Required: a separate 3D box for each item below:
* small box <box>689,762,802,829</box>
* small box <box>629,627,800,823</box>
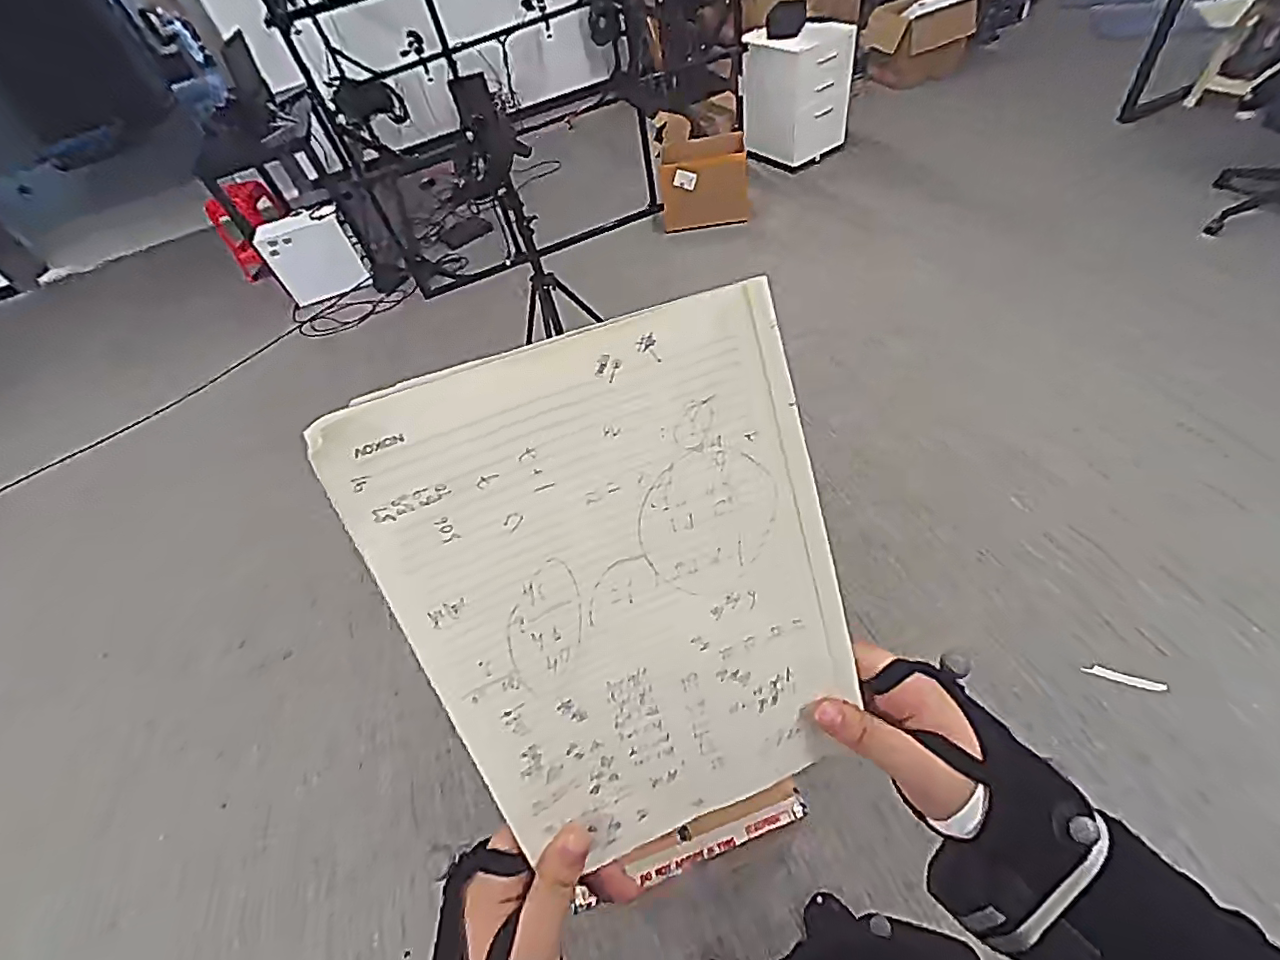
[{"bbox_3d":[0.130,0.421,0.850,0.179,0.176,0.168,-20,51,-6],"label":"small box"},{"bbox_3d":[0.091,0.328,0.719,0.168,0.176,0.179,-16,52,-4],"label":"small box"}]
